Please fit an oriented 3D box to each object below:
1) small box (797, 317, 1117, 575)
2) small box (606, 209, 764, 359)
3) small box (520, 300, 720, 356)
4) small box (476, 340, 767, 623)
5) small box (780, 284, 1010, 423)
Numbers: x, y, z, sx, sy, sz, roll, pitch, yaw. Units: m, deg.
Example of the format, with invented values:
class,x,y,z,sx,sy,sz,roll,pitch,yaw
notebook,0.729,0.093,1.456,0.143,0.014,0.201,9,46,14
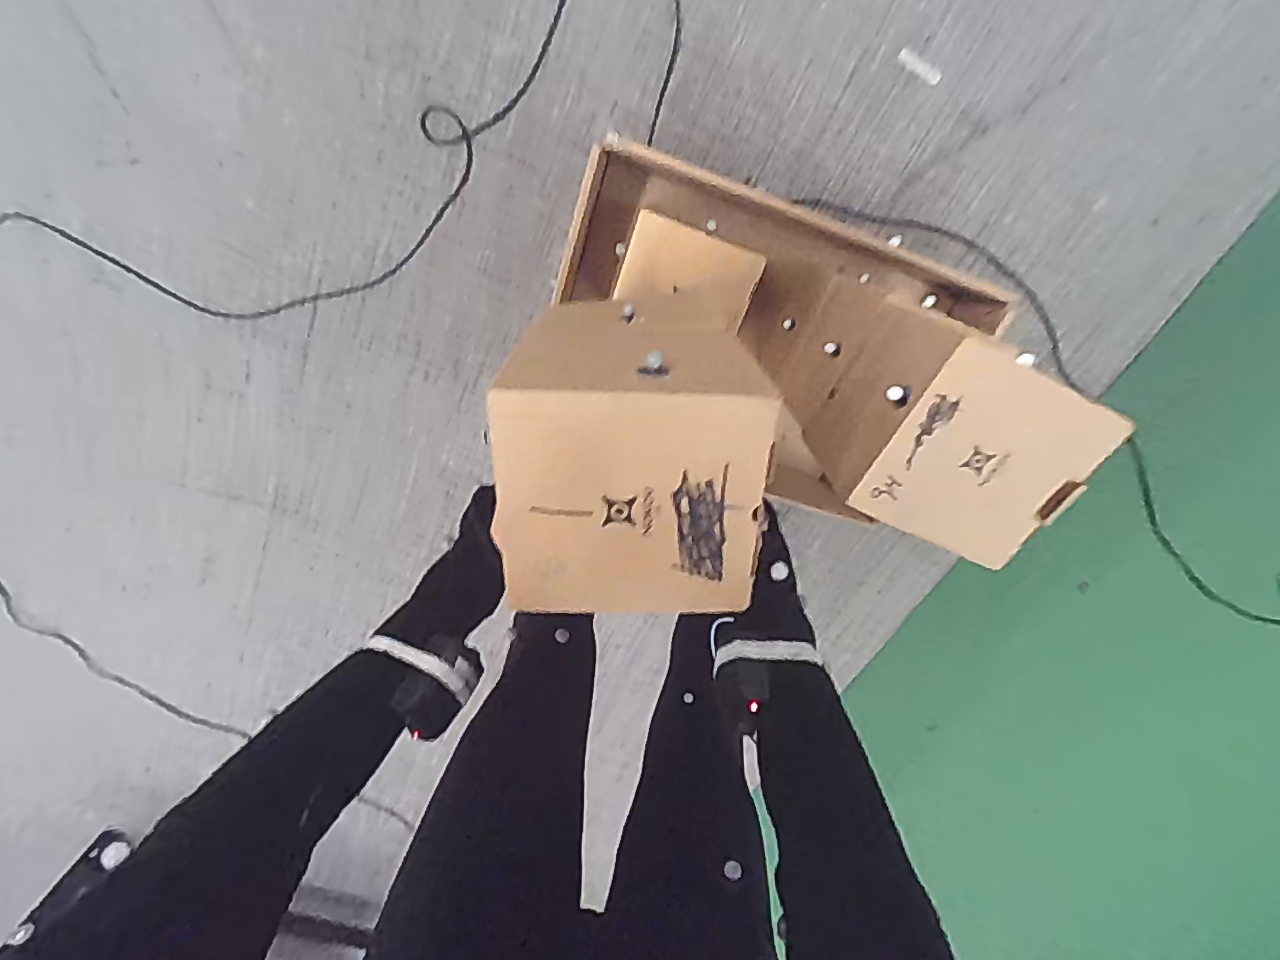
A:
class,x,y,z,sx,sy,sz,roll,pitch,yaw
small box,0.286,-0.043,0.534,0.179,0.176,0.168,24,114,-11
small box,0.052,-0.277,0.787,0.179,0.176,0.168,18,117,-10
small box,-0.015,-0.087,0.569,0.179,0.176,0.168,-5,117,1
small box,-0.016,-0.008,0.424,0.179,0.176,0.168,1,118,-2
small box,0.295,-0.128,0.676,0.168,0.176,0.179,20,116,-8
